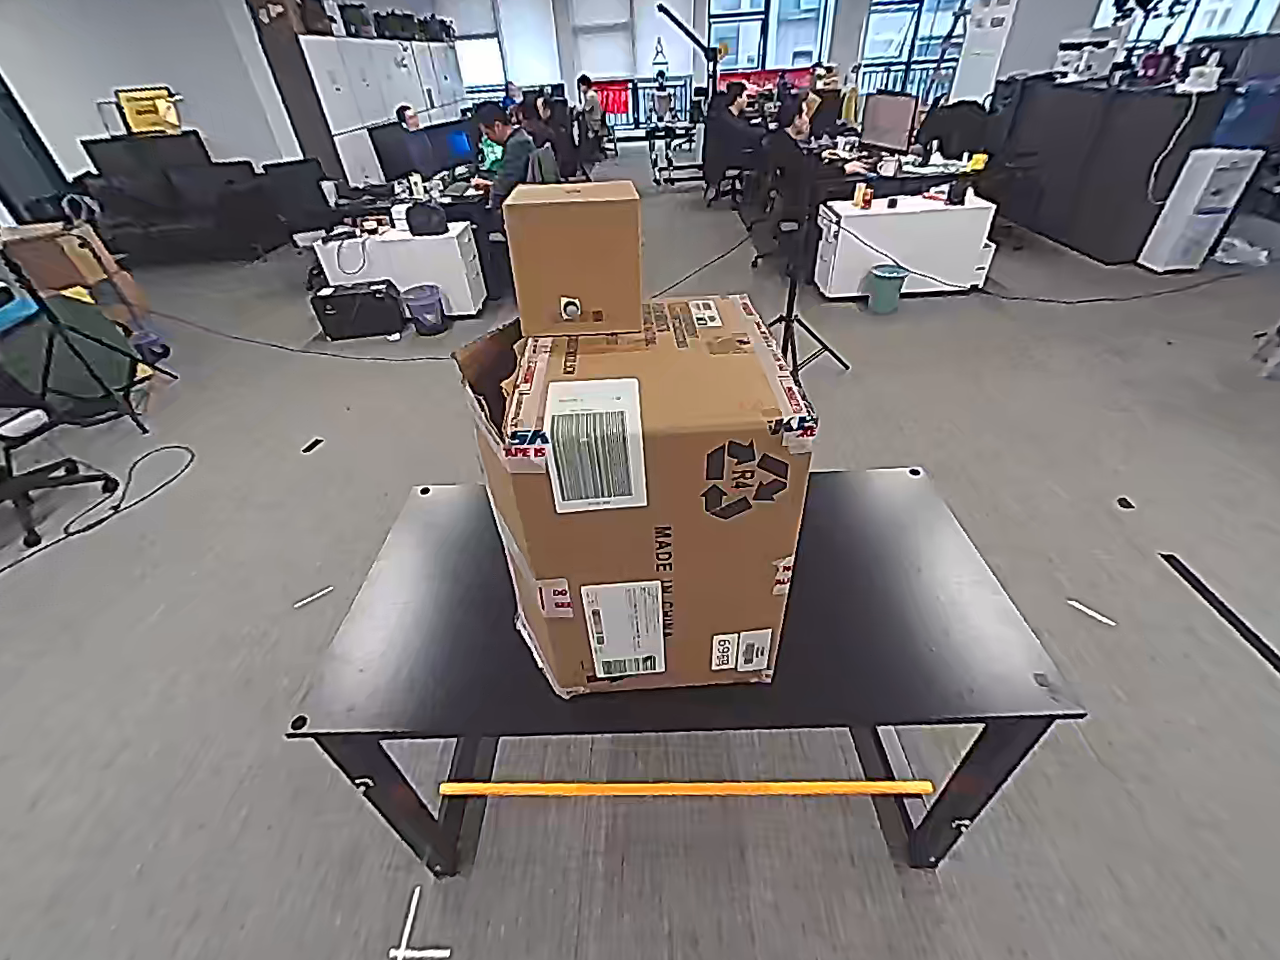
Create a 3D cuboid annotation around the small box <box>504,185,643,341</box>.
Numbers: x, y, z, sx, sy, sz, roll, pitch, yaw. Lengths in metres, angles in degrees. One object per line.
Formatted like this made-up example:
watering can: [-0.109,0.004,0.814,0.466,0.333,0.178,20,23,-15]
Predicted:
small box: [-0.086,-0.307,0.761,0.168,0.176,0.179,-5,36,-3]
